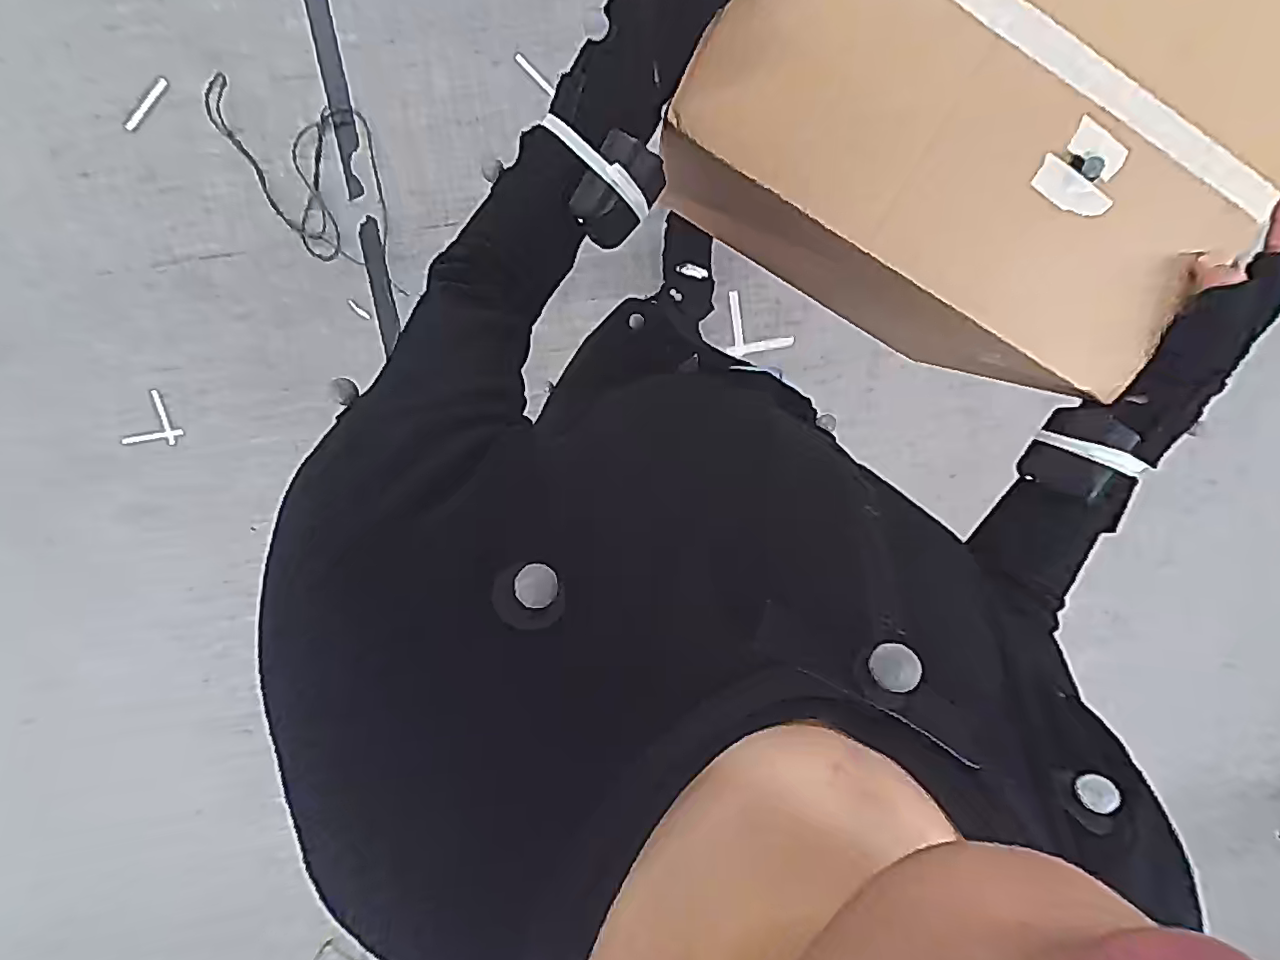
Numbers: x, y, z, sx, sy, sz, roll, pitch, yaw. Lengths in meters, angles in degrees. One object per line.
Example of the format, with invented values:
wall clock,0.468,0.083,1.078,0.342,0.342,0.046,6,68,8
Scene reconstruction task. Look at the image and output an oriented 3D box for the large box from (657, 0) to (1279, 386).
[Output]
large box,0.265,-0.336,0.508,0.408,0.320,0.320,28,107,-10
